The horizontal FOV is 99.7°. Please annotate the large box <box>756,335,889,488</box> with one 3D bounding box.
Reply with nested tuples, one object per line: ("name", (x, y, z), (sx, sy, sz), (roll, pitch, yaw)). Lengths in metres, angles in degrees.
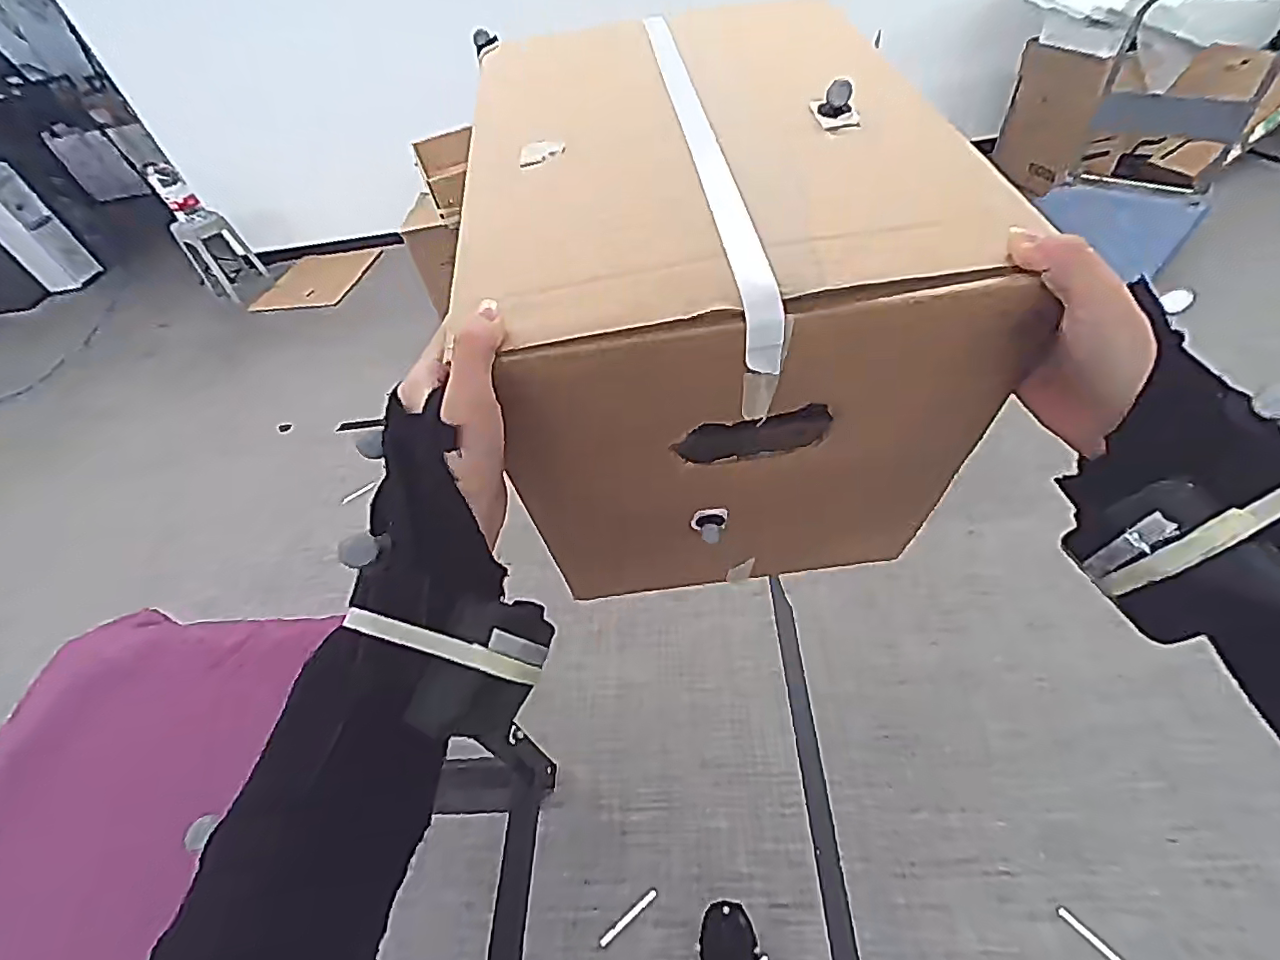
("large box", (0.581, -0.231, 1.811), (0.320, 0.320, 0.408), (-6, 48, 5))
